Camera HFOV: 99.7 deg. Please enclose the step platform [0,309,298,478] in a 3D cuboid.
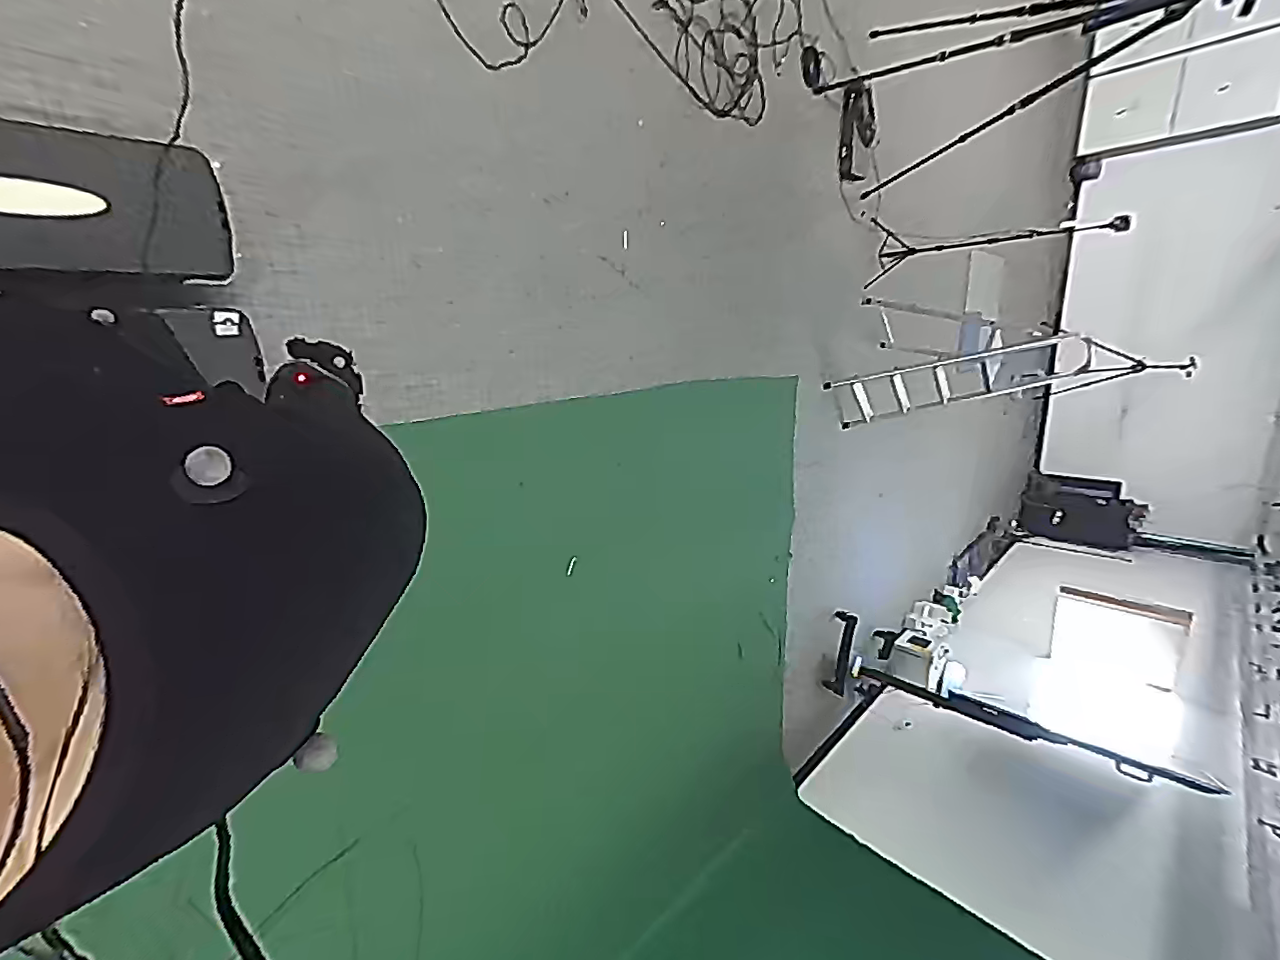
[{"bbox_3d":[-1.035,-0.154,0.967,0.684,0.204,0.286,-17,110,-43],"label":"step platform"}]
